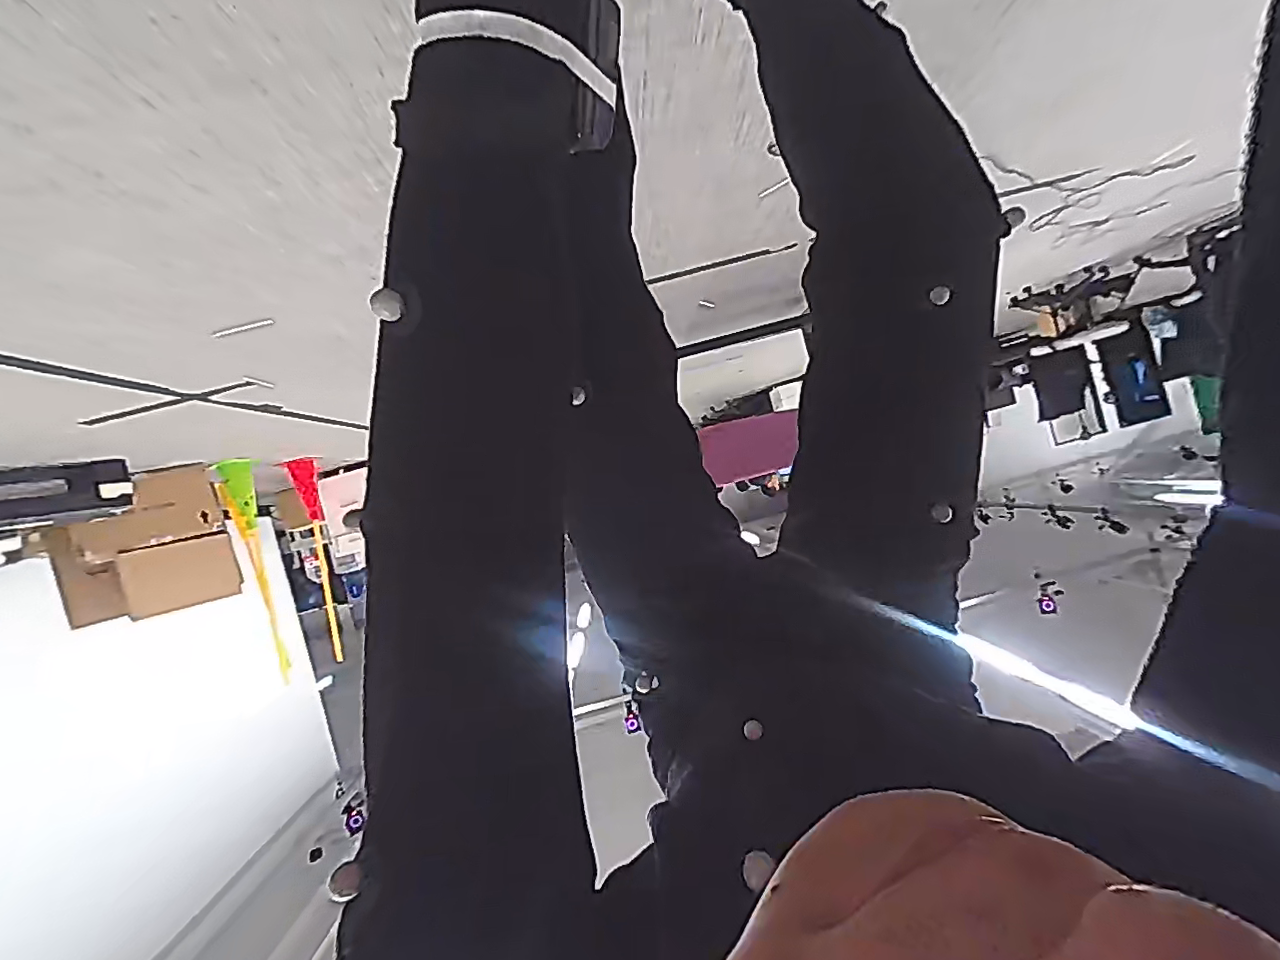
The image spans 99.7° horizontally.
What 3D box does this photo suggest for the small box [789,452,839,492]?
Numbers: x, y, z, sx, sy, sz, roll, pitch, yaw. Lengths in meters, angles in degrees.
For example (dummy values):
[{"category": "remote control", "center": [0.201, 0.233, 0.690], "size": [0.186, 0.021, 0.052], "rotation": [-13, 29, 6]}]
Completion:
[{"category": "small box", "center": [0.883, -0.044, 2.749], "size": [0.179, 0.176, 0.168], "rotation": [-15, 180, 1]}]
